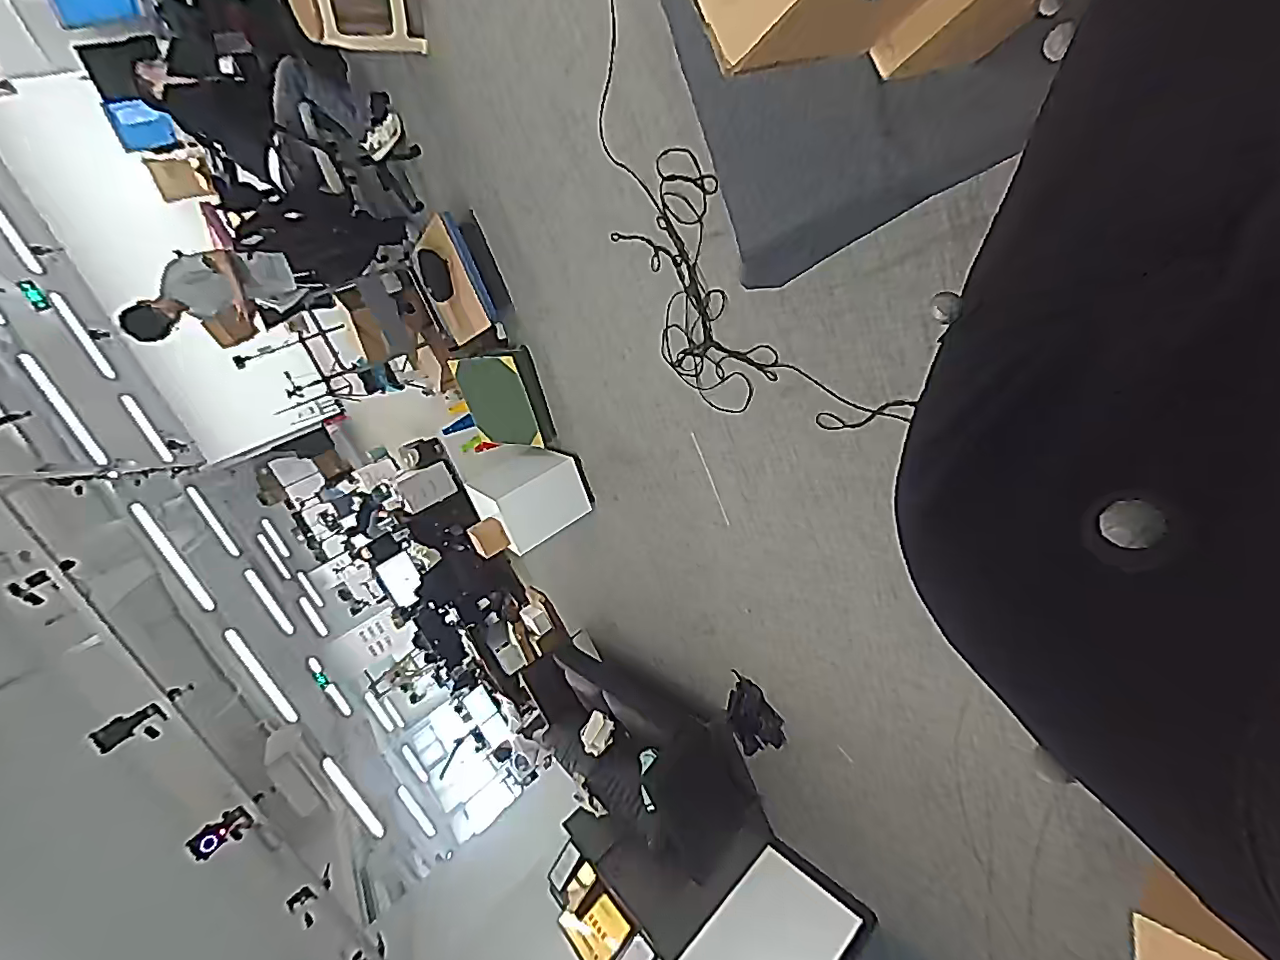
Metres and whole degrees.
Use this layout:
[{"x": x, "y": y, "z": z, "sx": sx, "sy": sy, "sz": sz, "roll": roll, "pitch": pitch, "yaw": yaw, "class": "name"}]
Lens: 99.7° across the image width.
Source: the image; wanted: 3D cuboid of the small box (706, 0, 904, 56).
[{"x": 0.125, "y": -0.379, "z": 0.290, "sx": 0.179, "sy": 0.176, "sz": 0.168, "roll": -6, "pitch": 115, "yaw": 58, "class": "small box"}]

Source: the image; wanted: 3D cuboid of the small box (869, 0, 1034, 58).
[{"x": 0.249, "y": -0.444, "z": 0.373, "sx": 0.179, "sy": 0.176, "sz": 0.168, "roll": 61, "pitch": 152, "yaw": -9, "class": "small box"}]
